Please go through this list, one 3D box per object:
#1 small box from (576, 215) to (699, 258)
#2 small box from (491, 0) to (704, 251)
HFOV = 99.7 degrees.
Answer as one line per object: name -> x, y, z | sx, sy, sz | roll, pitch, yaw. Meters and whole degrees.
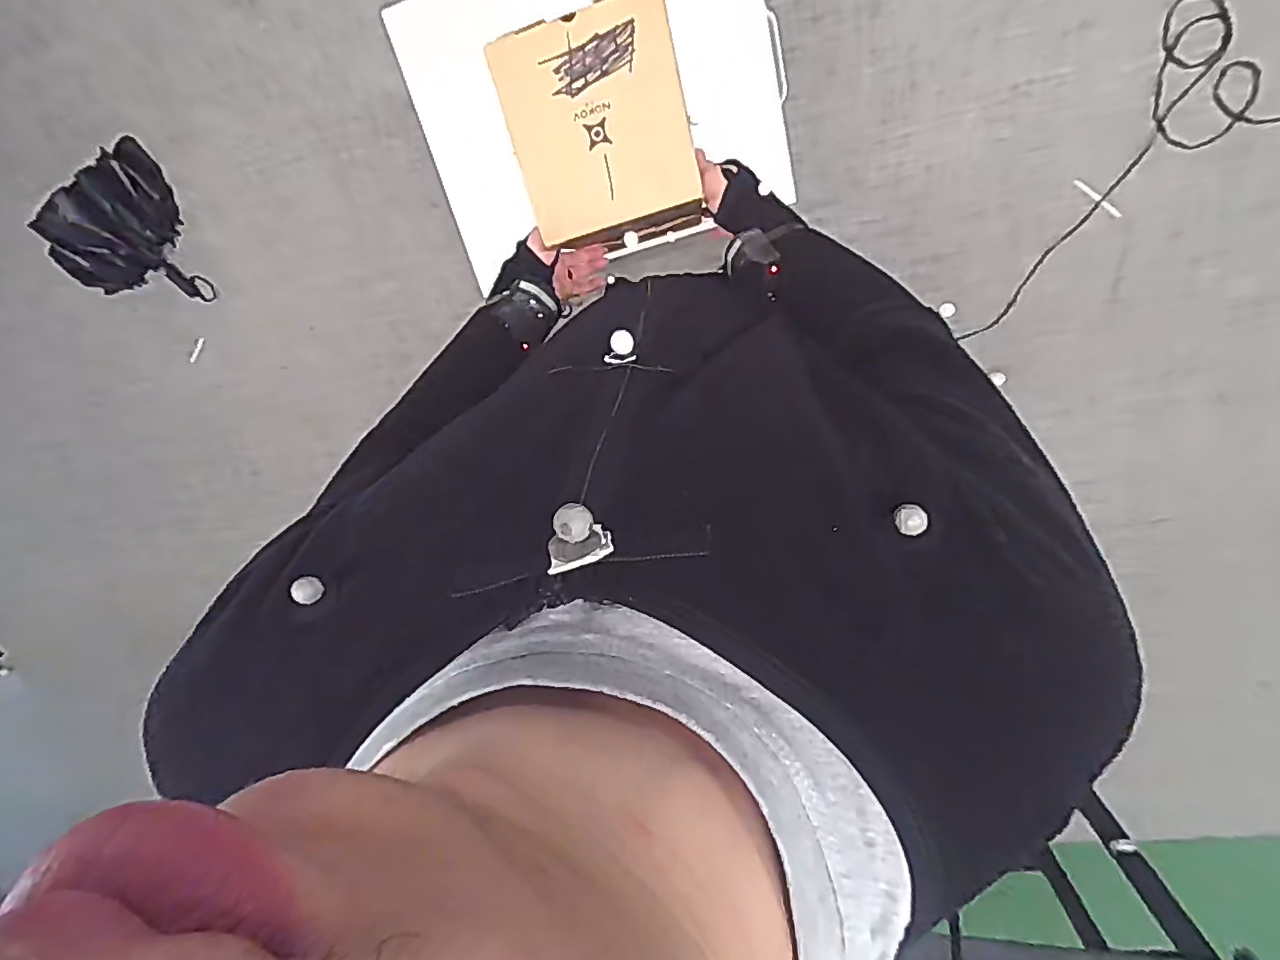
small box -> -0.016, -0.412, 0.731 | 0.168, 0.176, 0.179 | -13, 108, 10
small box -> -0.031, -0.356, 0.578 | 0.168, 0.176, 0.179 | -12, 110, 10
